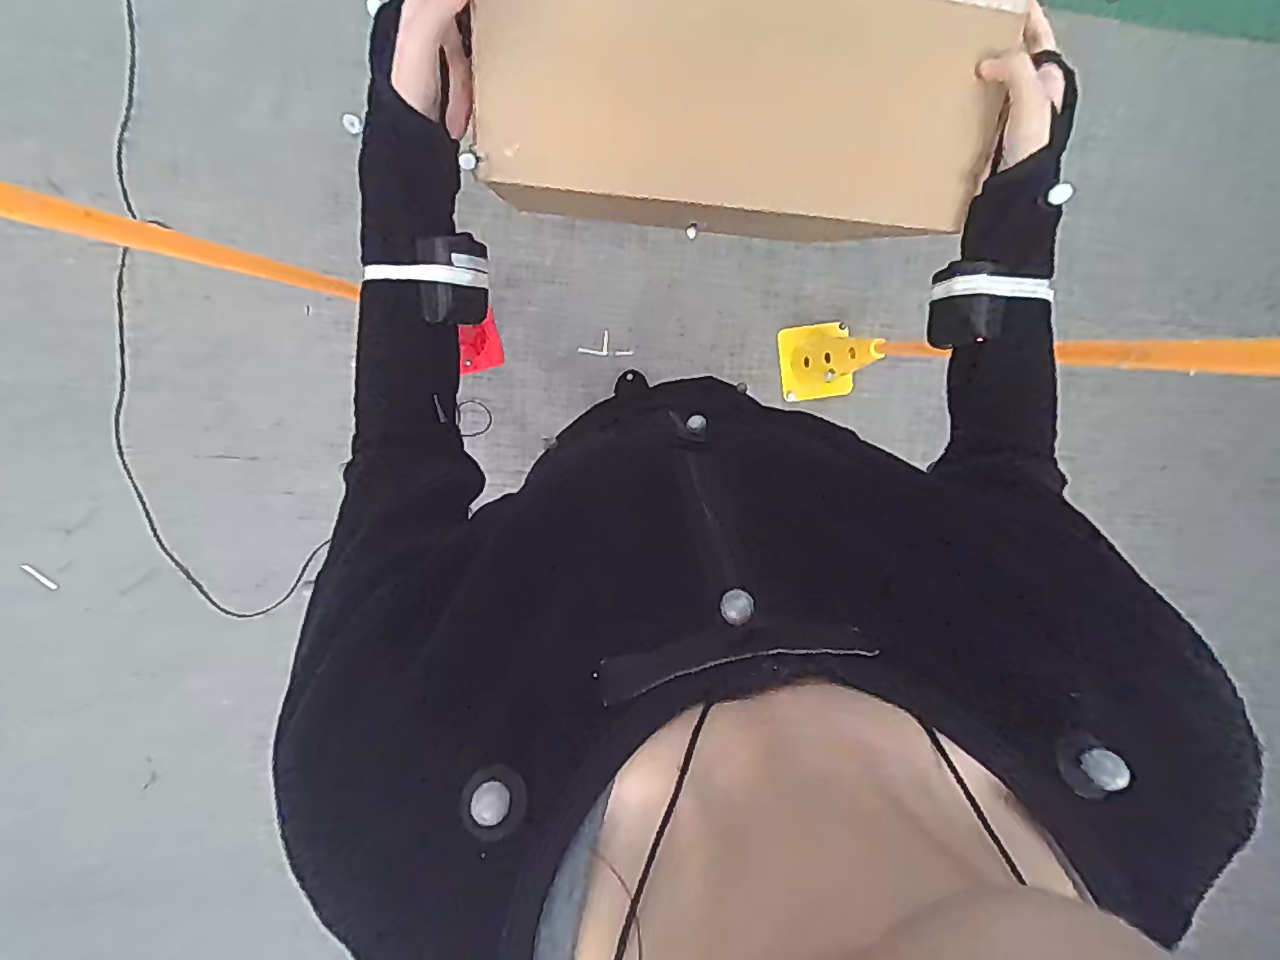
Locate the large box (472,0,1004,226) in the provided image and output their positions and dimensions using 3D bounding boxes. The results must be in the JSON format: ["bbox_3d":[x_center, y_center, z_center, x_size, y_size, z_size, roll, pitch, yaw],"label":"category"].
[{"bbox_3d":[0.068,-0.429,0.523,0.408,0.320,0.320,2,112,-7],"label":"large box"}]
